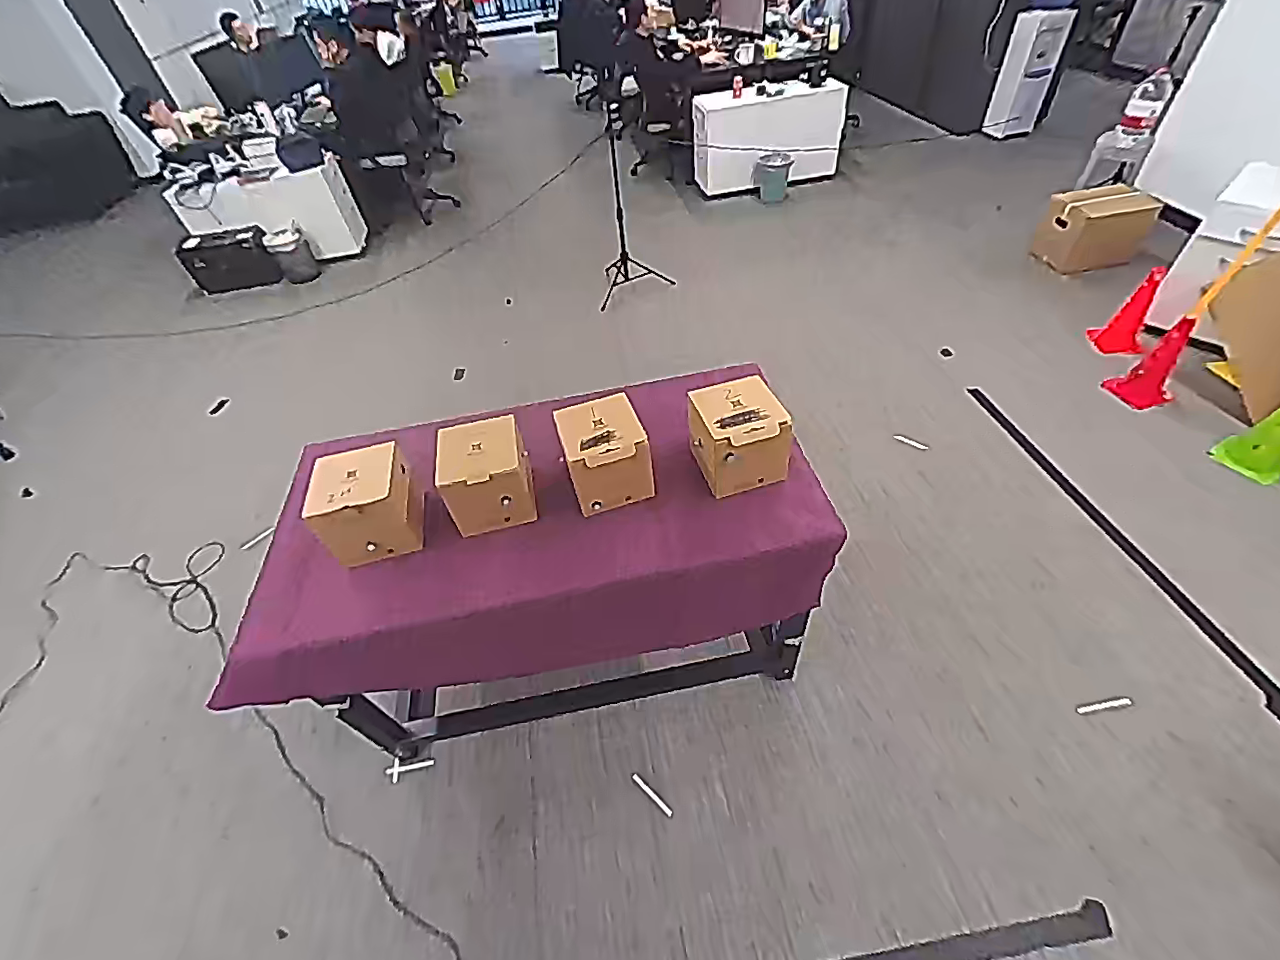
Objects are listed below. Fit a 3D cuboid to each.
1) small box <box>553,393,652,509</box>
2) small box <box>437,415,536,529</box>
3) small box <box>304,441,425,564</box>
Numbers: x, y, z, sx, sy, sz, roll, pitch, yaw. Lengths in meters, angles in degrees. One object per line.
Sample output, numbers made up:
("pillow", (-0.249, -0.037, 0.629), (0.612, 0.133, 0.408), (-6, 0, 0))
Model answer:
("small box", (-0.078, -0.056, 1.180), (0.168, 0.176, 0.179), (-16, 47, -9))
("small box", (-0.327, -0.011, 1.172), (0.168, 0.176, 0.179), (-12, 46, -5))
("small box", (-0.569, 0.048, 1.145), (0.168, 0.176, 0.179), (-14, 47, -5))
